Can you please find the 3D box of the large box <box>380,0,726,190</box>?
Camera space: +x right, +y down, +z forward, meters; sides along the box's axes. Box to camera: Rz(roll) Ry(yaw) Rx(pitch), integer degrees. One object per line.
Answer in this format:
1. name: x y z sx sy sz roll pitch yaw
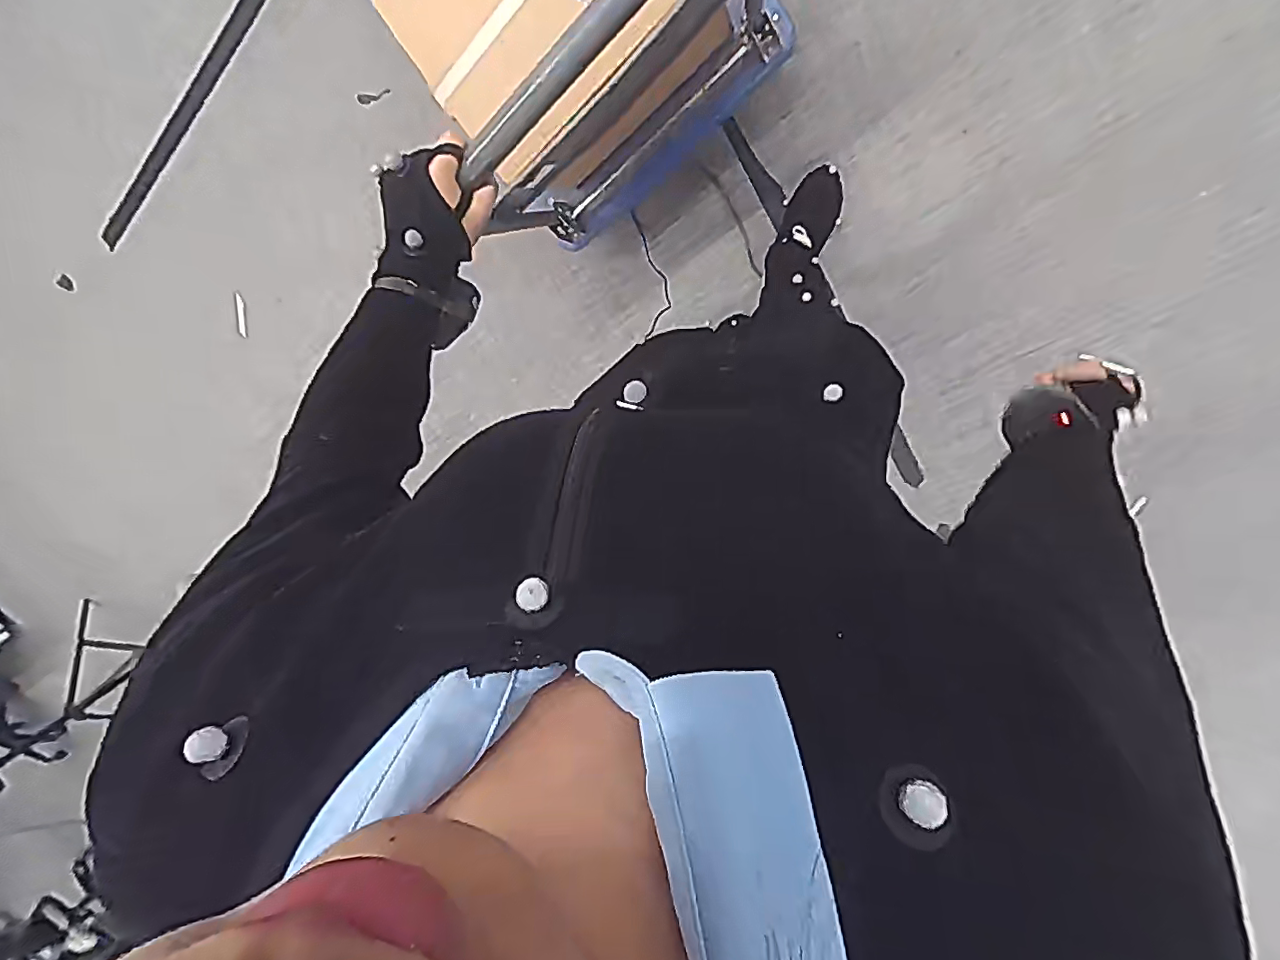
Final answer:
1. large box: -0.118 -0.749 0.881 0.408 0.320 0.320 -32 105 26
